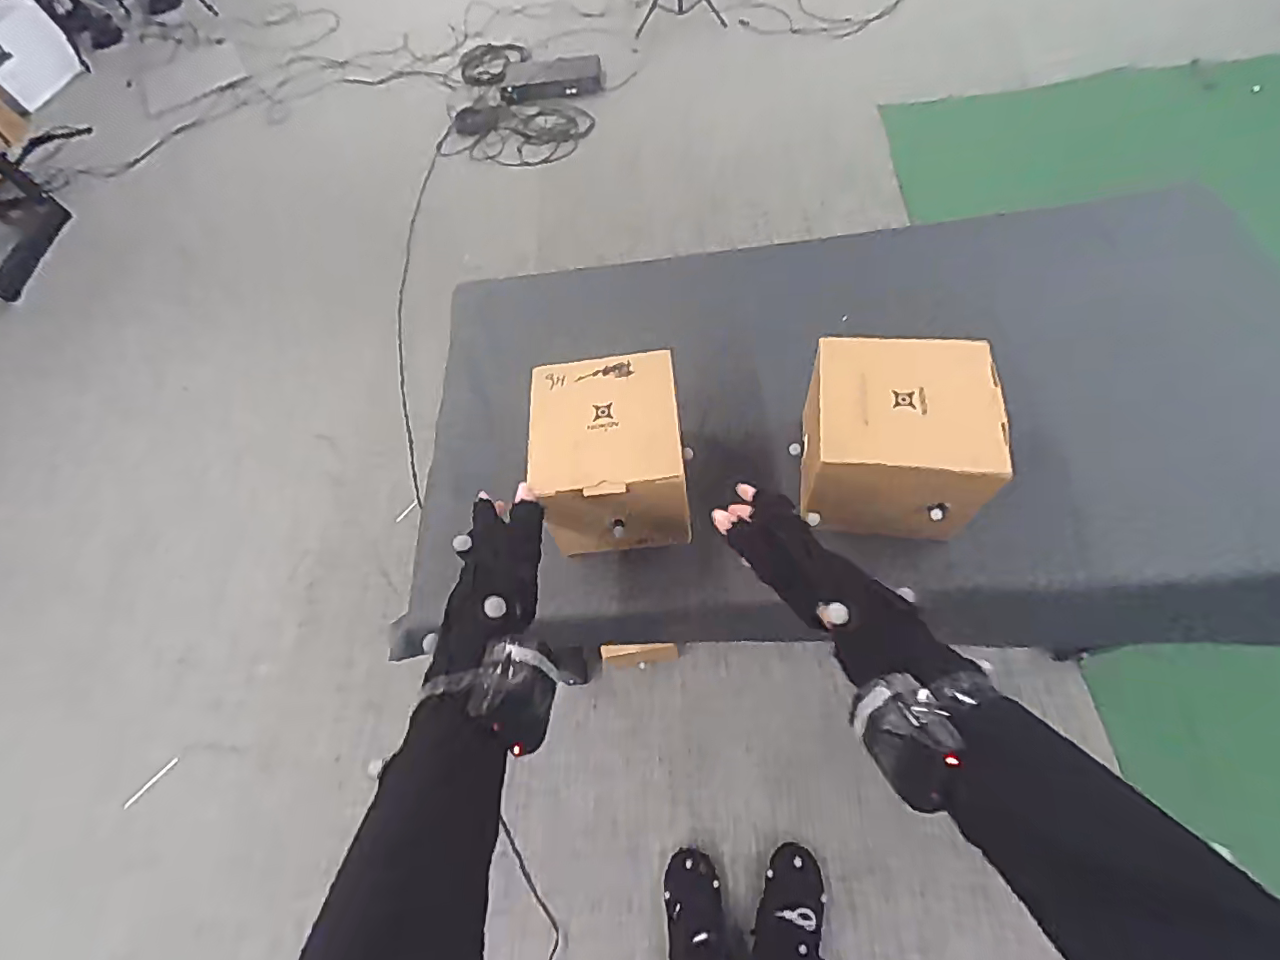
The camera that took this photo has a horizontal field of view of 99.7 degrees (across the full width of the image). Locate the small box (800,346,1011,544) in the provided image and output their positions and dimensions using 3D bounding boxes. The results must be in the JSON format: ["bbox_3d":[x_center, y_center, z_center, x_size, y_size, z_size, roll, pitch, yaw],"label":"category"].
[{"bbox_3d":[0.288,-0.034,0.629,0.179,0.176,0.168,4,62,12],"label":"small box"}]

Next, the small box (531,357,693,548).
[{"bbox_3d":[-0.026,-0.023,0.664,0.168,0.176,0.179,-5,61,5],"label":"small box"}]
